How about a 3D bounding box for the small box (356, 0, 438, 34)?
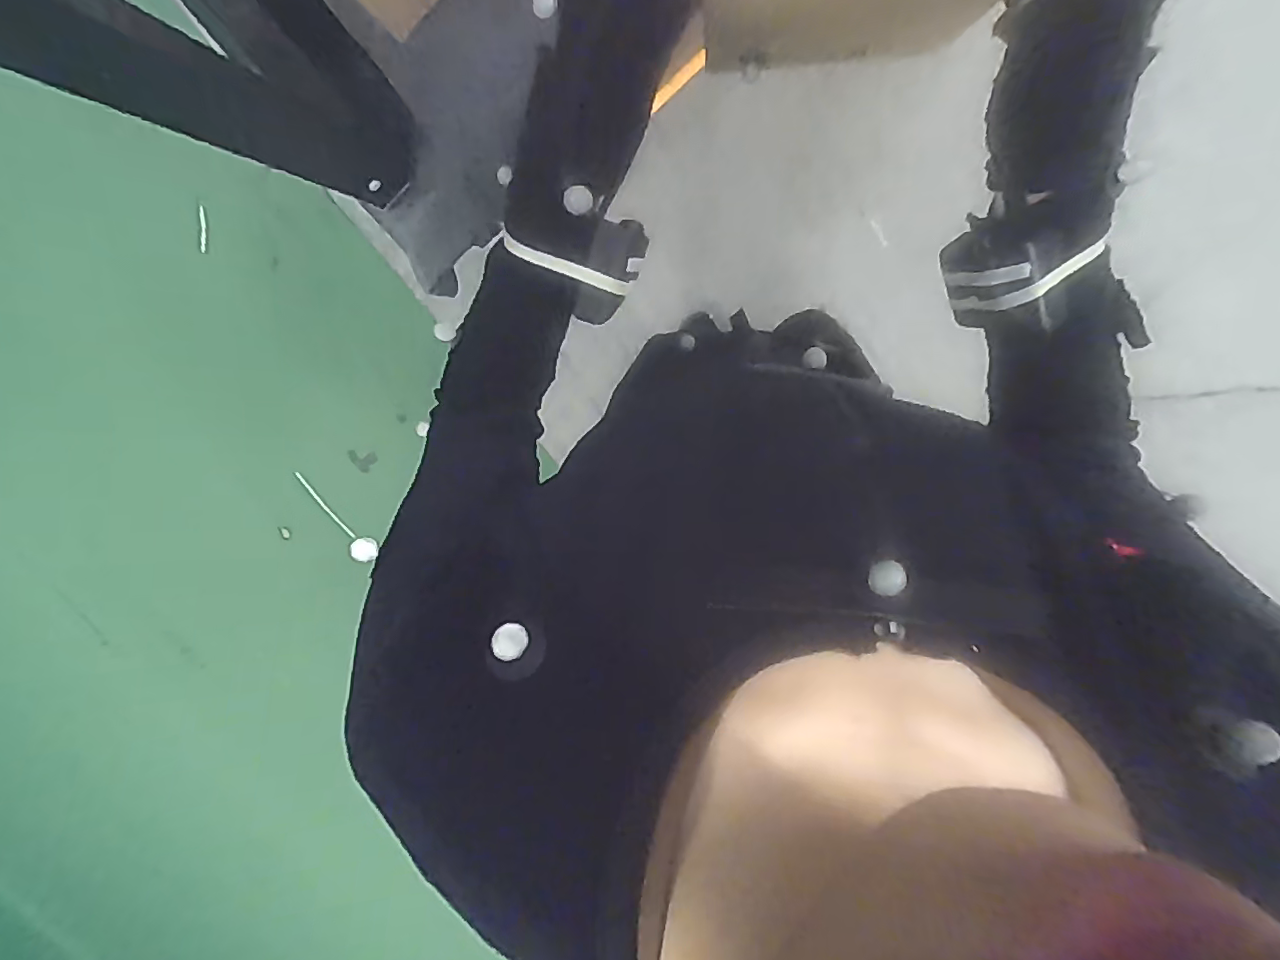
[{"bbox_3d":[-0.276,-0.595,0.514,0.168,0.176,0.179,-37,98,14],"label":"small box"}]
